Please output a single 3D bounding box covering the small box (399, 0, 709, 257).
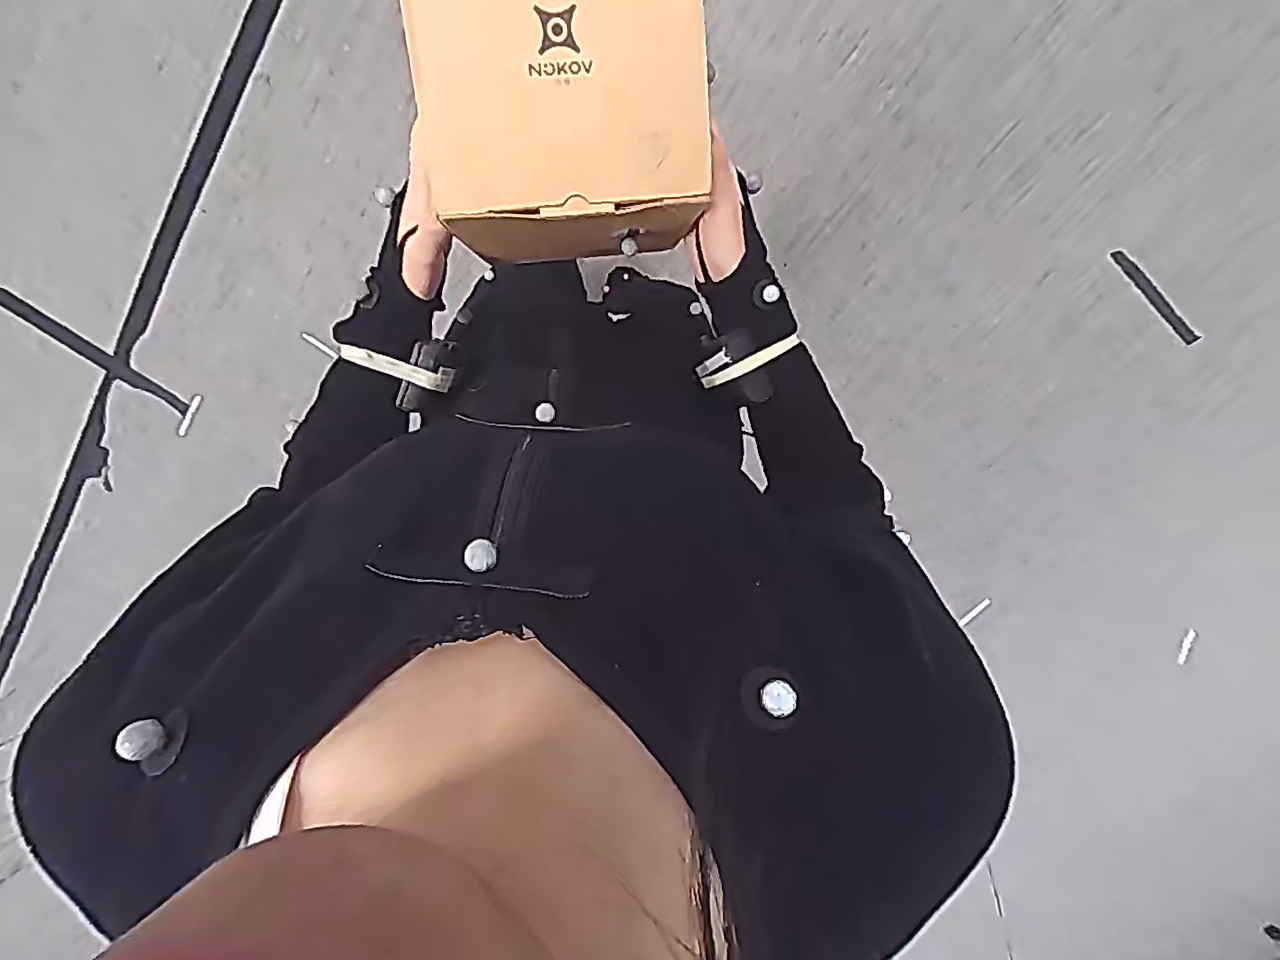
[{"bbox_3d":[-0.052,-0.261,0.374,0.168,0.176,0.179,-7,103,-4],"label":"small box"}]
